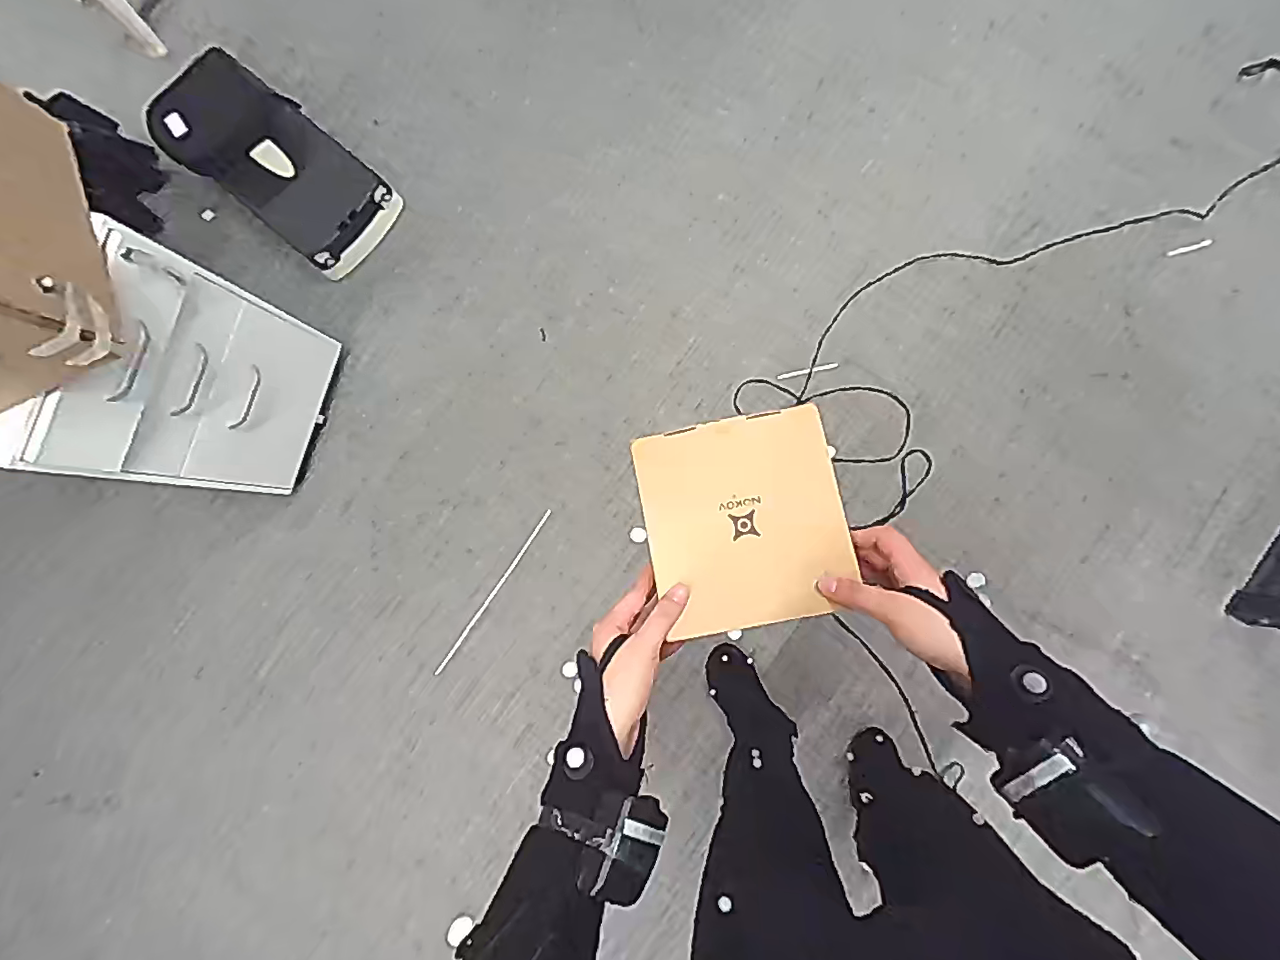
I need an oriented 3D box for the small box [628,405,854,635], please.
[{"bbox_3d":[0.092,0.046,0.540,0.168,0.176,0.179,-11,78,4],"label":"small box"}]
